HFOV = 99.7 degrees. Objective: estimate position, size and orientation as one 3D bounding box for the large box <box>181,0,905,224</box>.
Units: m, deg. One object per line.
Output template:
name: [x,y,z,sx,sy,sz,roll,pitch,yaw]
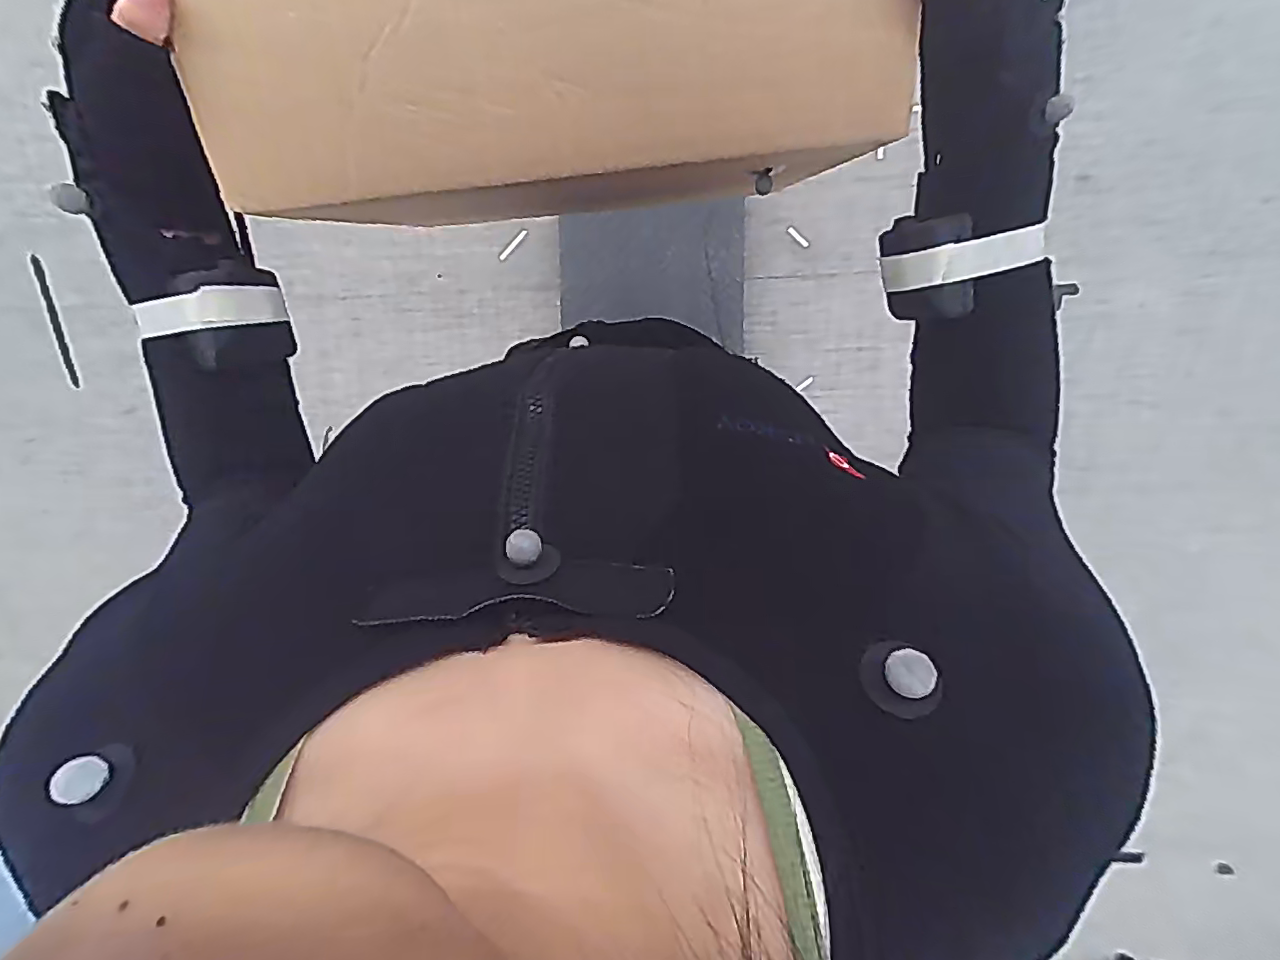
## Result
large box: [-0.057,-0.386,0.407,0.408,0.320,0.320,-5,113,3]
